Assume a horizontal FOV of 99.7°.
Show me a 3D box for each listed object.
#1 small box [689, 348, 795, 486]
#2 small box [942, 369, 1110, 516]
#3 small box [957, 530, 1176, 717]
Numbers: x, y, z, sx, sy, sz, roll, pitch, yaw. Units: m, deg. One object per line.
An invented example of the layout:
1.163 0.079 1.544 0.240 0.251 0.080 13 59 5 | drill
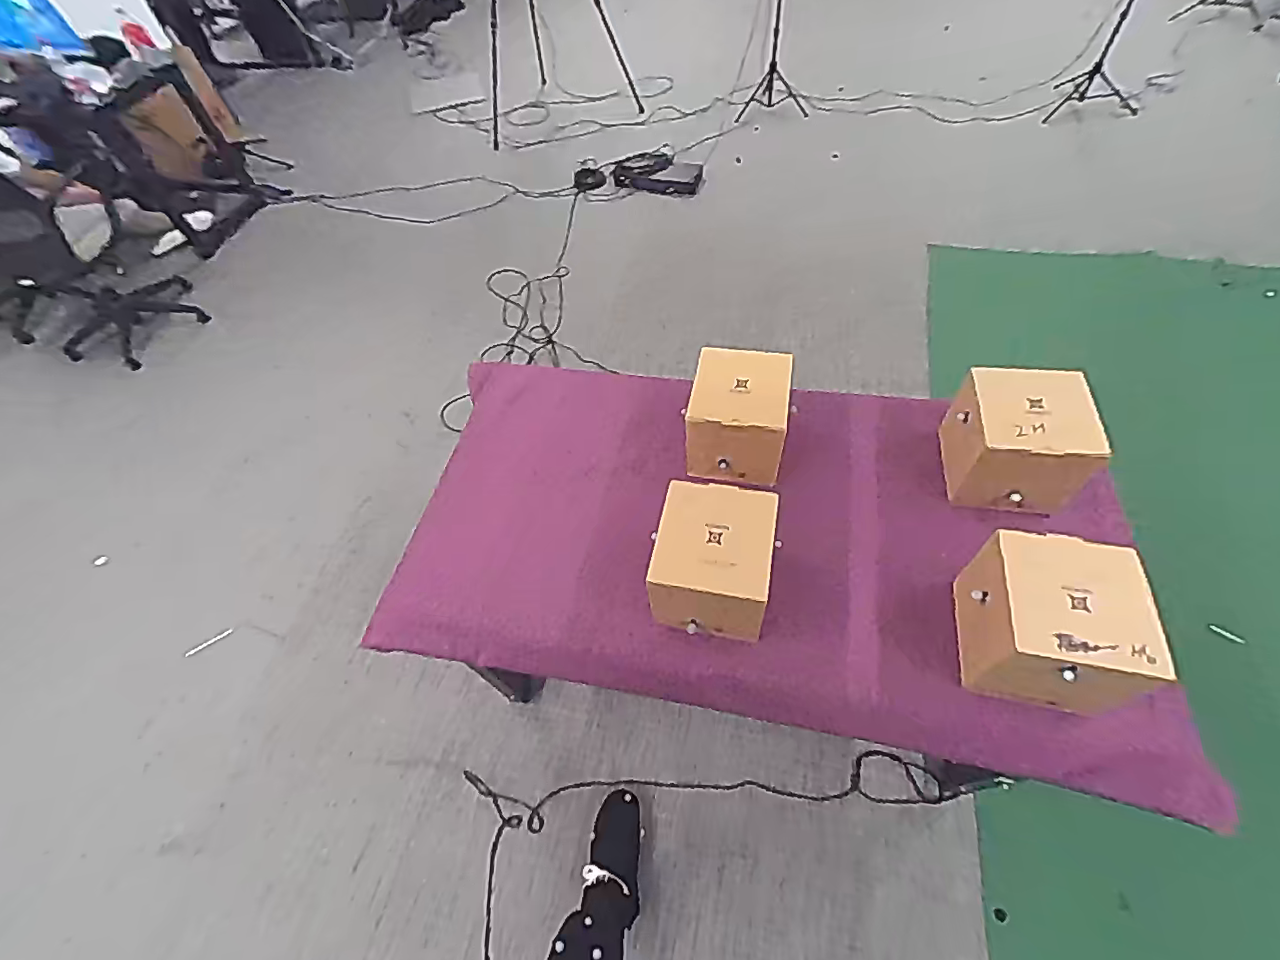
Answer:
0.183 -0.114 0.993 0.168 0.176 0.179 8 58 10 | small box
0.627 -0.062 0.908 0.168 0.176 0.179 5 56 13 | small box
0.553 0.196 0.736 0.168 0.176 0.179 8 54 13 | small box
